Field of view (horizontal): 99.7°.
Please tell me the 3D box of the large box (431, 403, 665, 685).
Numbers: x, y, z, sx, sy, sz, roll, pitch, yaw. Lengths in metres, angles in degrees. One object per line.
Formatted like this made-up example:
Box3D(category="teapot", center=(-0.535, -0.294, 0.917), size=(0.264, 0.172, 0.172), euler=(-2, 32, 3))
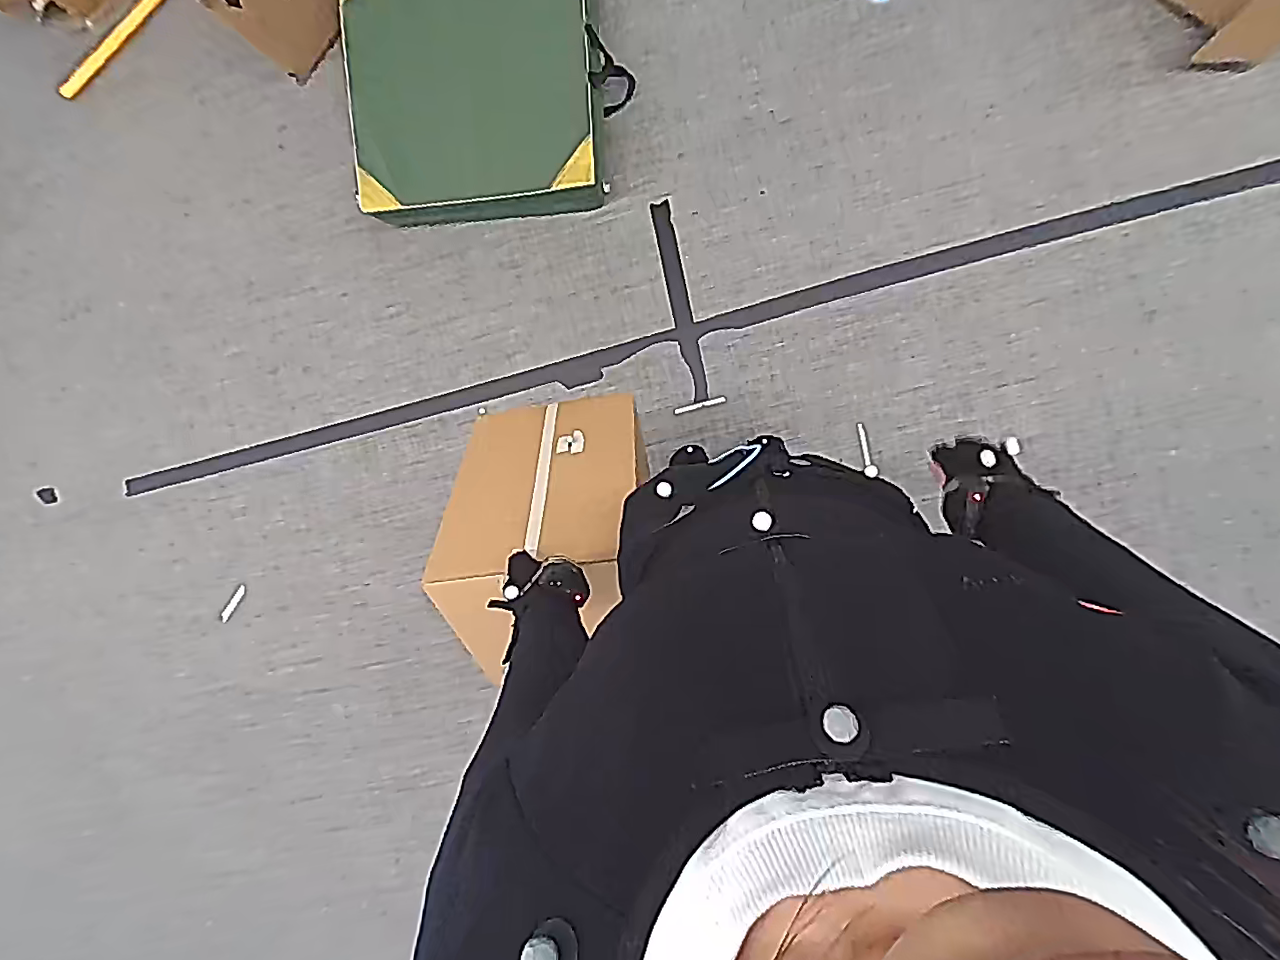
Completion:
Box3D(category="large box", center=(-0.136, 0.113, 1.012), size=(0.320, 0.408, 0.320), euler=(-8, 131, 6))
